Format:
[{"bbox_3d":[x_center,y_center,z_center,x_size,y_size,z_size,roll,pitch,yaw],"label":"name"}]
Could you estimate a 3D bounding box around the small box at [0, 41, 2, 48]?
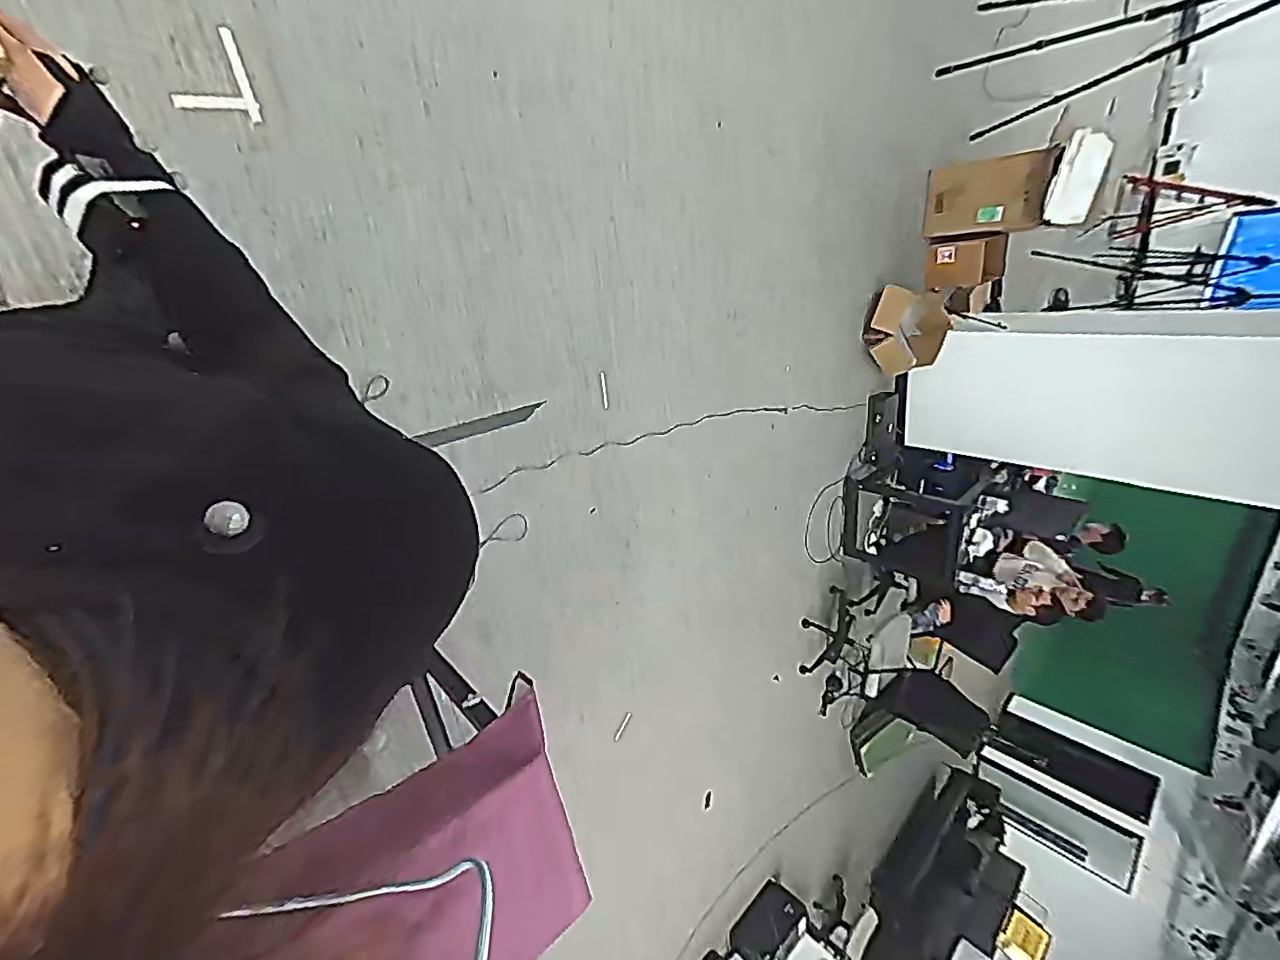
[{"bbox_3d":[-0.568,-0.321,0.329,0.179,0.176,0.168,-45,127,-43],"label":"small box"}]
